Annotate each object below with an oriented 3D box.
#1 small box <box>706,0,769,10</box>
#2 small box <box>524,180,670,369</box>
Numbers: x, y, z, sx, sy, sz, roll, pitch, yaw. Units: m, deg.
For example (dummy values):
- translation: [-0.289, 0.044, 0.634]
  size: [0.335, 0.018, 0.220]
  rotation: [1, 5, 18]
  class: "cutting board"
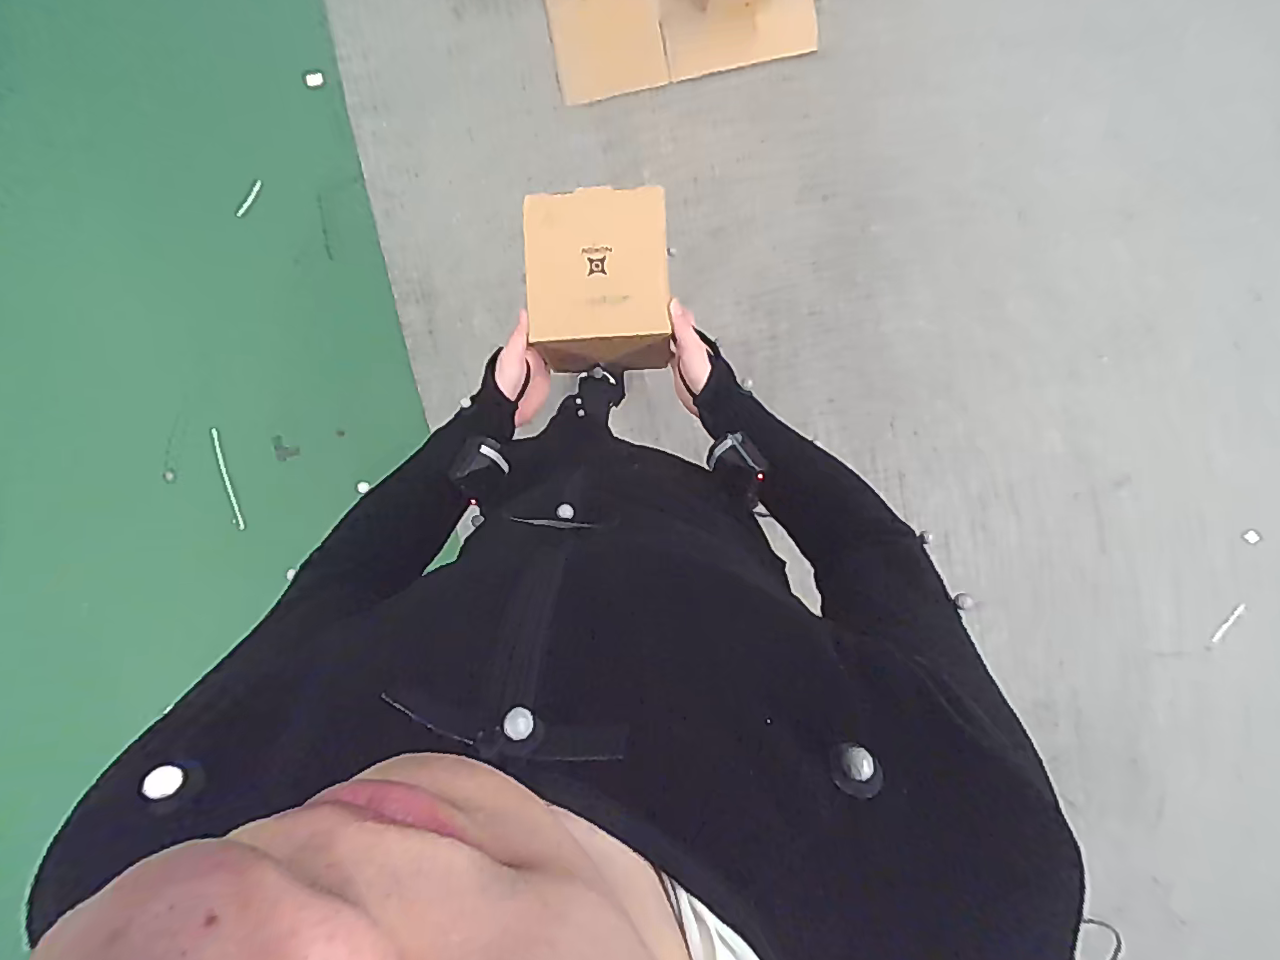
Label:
- translation: [0.244, -1.295, 1.315]
  size: [0.168, 0.176, 0.179]
  rotation: [-6, 97, 3]
  class: "small box"
- translation: [-0.048, -0.249, 0.690]
  size: [0.168, 0.176, 0.179]
  rotation: [-2, 88, 2]
  class: "small box"
